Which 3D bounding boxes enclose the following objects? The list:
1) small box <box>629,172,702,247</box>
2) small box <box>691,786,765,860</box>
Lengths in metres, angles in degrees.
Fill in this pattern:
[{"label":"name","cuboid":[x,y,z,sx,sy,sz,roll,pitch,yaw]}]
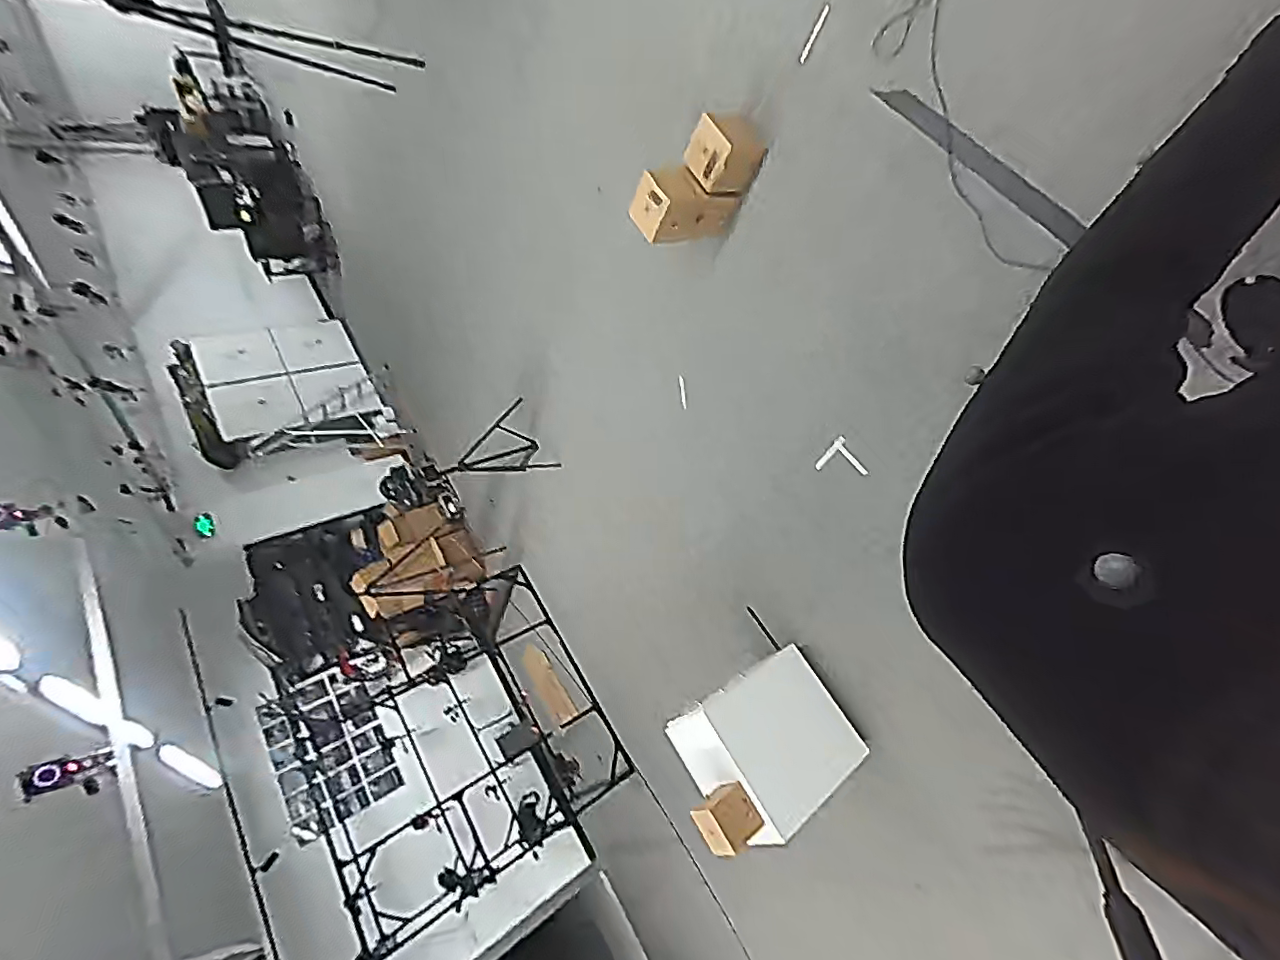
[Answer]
[{"label":"small box","cuboid":[0.094,-0.951,1.898,0.168,0.176,0.179,59,147,17]},{"label":"small box","cuboid":[0.324,1.254,1.984,0.168,0.176,0.179,56,145,18]}]
